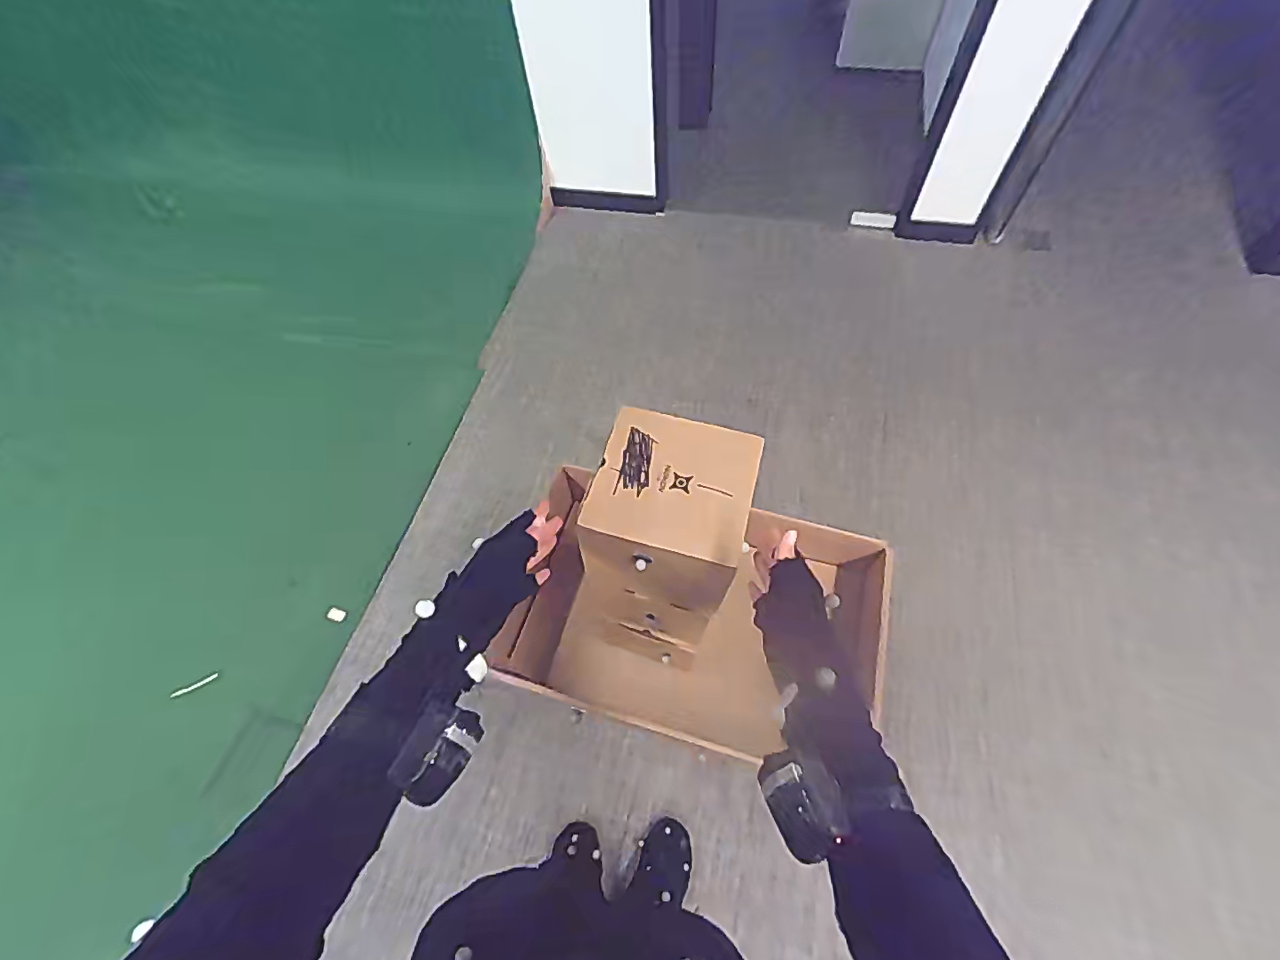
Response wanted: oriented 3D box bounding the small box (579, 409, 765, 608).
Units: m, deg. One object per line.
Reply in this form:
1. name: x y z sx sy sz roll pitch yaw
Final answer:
1. small box: 0.039 0.042 0.665 0.179 0.176 0.168 14 62 7

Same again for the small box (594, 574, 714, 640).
1. small box: 0.044 0.121 0.810 0.168 0.176 0.179 16 63 9

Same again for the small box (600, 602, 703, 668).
1. small box: 0.042 0.210 0.948 0.168 0.176 0.179 17 60 9
